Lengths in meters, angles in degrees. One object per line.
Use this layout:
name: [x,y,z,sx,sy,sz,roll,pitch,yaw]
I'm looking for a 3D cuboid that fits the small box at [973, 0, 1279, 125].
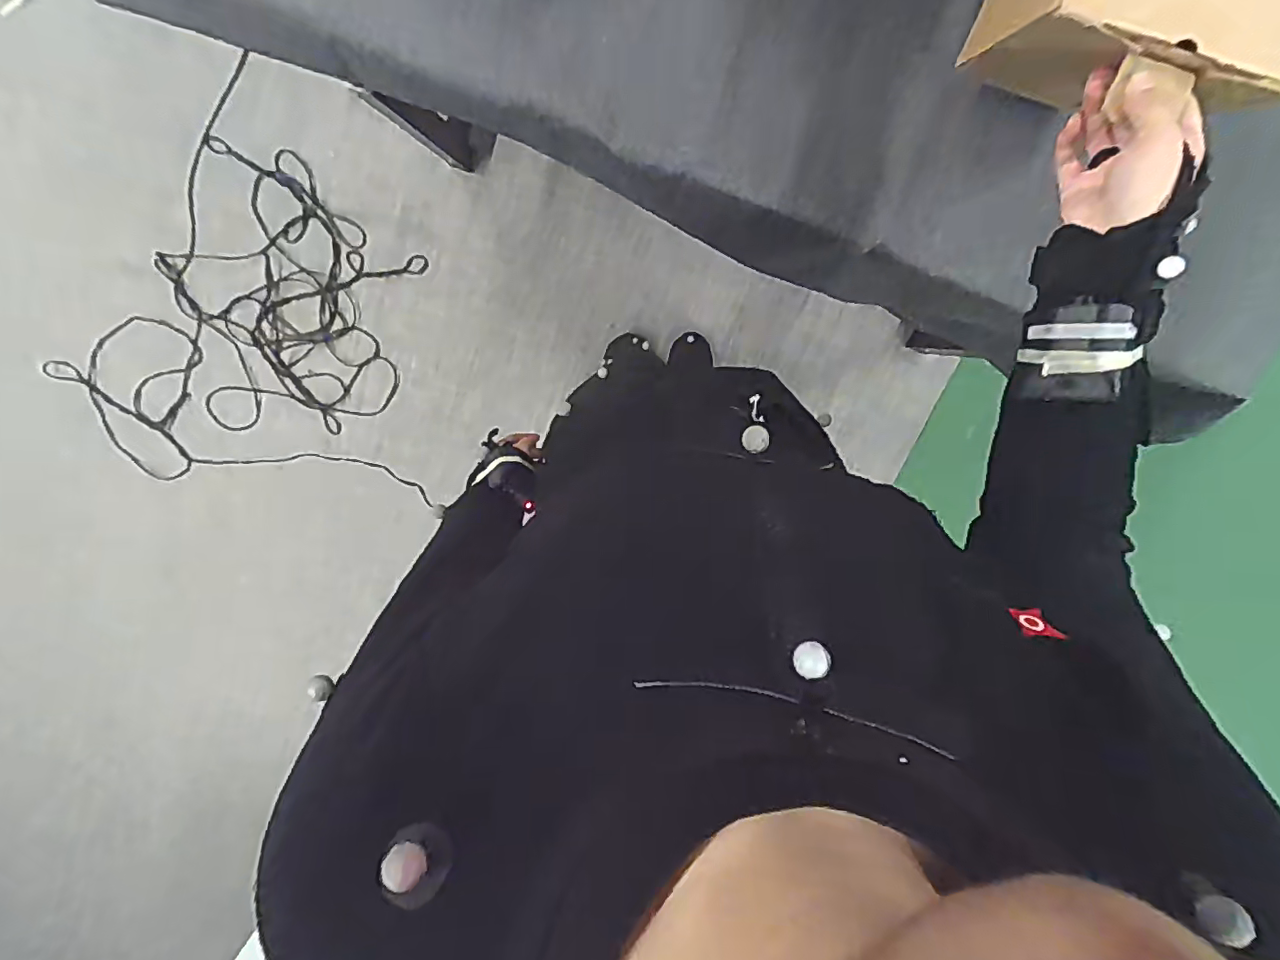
small box: [0.361,-0.365,0.359,0.168,0.176,0.179,18,116,-1]
